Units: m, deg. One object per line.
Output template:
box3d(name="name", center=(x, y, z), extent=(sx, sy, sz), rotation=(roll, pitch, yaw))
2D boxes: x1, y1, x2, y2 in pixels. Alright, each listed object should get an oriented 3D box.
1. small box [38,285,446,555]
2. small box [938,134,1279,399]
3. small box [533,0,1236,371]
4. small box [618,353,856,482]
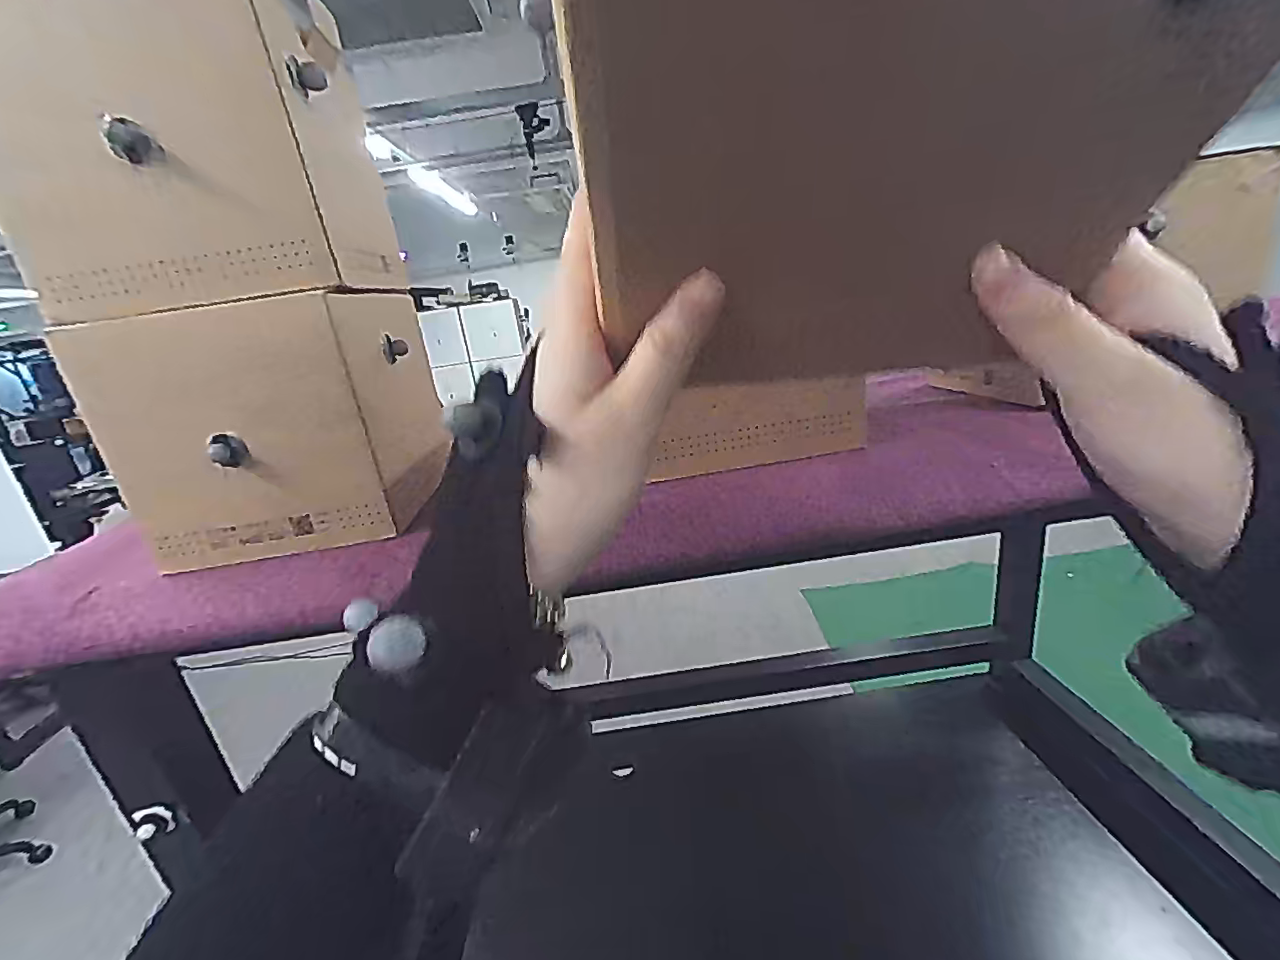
box3d(name="small box", center=(-0.267, -0.051, 0.422), extent=(0.168, 0.176, 0.179), rotation=(-9, 20, -2))
box3d(name="small box", center=(0.385, -0.173, 0.480), extent=(0.179, 0.176, 0.168), rotation=(-9, 17, 1))
box3d(name="small box", center=(0.057, -0.154, 0.190), extent=(0.179, 0.176, 0.168), rotation=(-5, 62, -1))
box3d(name="small box", center=(0.068, -0.111, 0.455), extent=(0.179, 0.176, 0.168), rotation=(-11, 19, -1))
